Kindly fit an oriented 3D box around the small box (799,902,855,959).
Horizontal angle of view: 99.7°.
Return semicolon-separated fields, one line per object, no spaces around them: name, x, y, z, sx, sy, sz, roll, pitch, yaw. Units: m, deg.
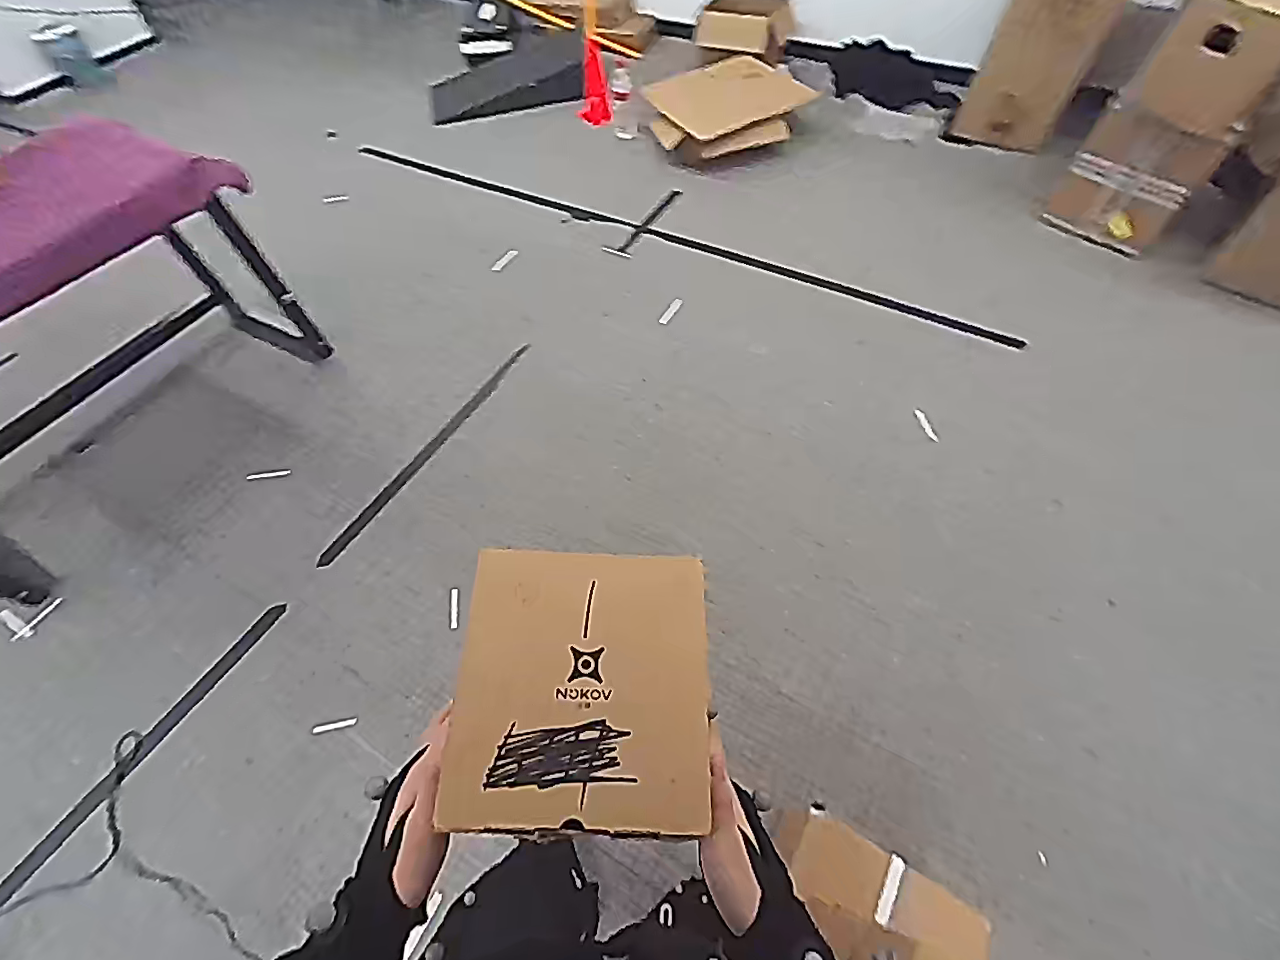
small box;0.322;0.751;0.777;0.168;0.176;0.179;23;63;19

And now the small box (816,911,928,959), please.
small box;0.307;0.657;0.645;0.179;0.176;0.168;24;62;20

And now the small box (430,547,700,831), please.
small box;-0.044;0.166;0.429;0.168;0.176;0.179;2;61;-1
